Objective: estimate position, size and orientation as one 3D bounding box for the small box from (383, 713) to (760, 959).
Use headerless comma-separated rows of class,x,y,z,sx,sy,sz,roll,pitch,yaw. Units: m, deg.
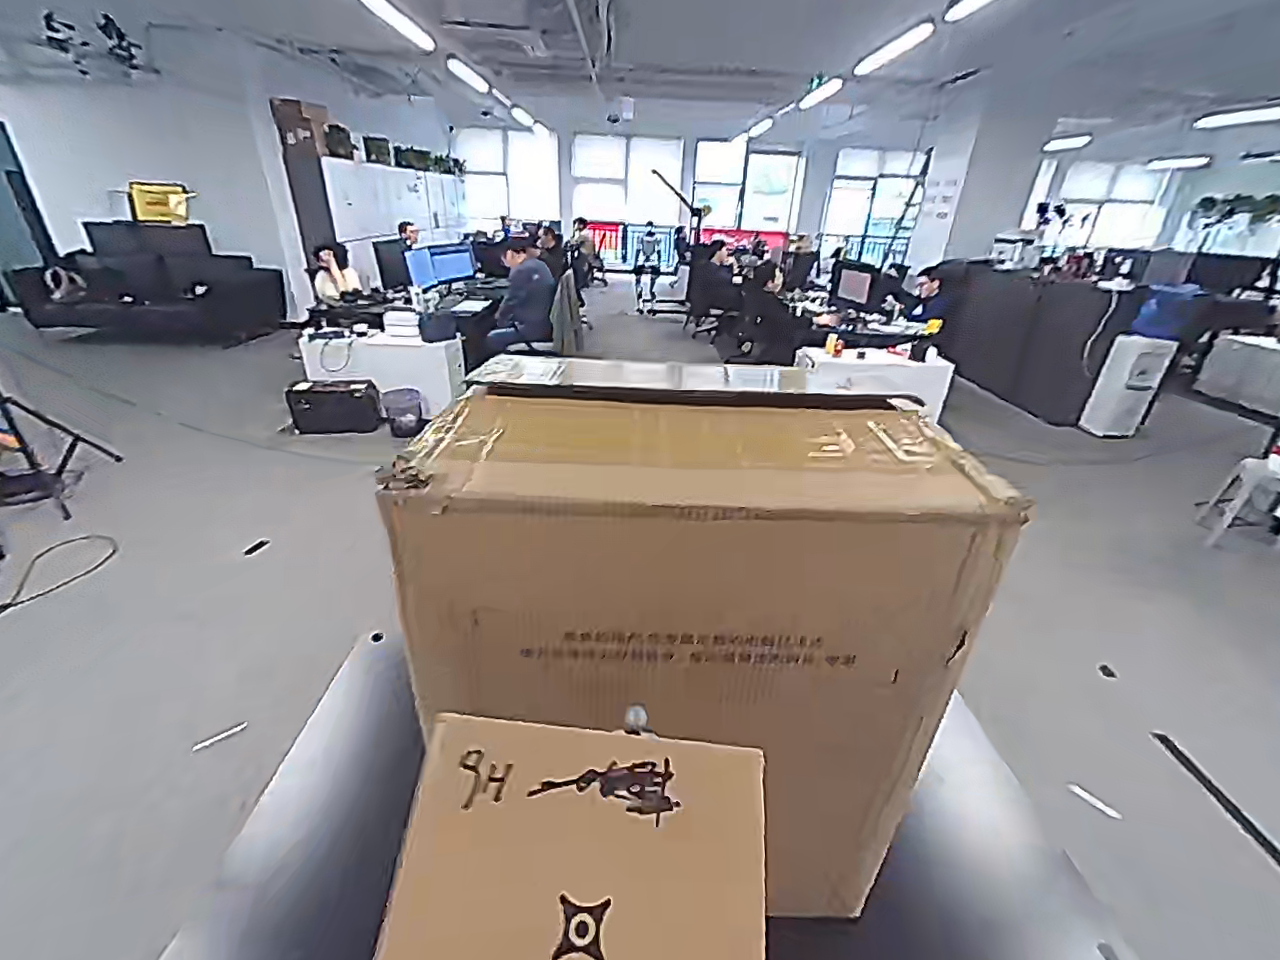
small box,-0.036,0.244,0.309,0.168,0.176,0.179,8,61,-2
